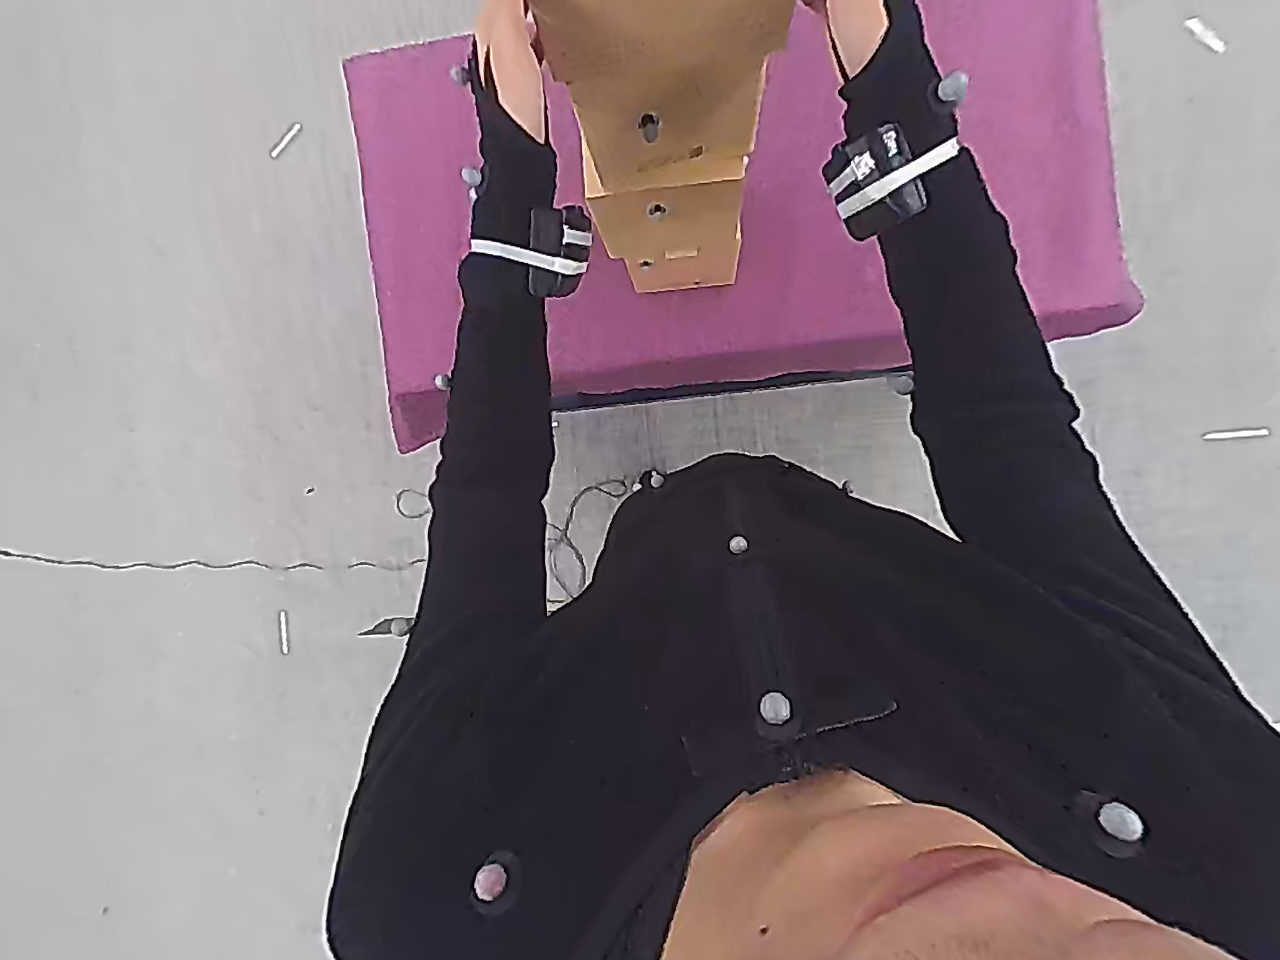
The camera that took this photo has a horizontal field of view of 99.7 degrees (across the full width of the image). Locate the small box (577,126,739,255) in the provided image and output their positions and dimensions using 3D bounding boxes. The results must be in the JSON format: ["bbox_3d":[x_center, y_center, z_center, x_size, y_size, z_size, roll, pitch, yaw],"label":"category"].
[{"bbox_3d":[0.026,-0.393,0.663,0.179,0.176,0.168,-3,90,6],"label":"small box"}]

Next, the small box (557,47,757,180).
[{"bbox_3d":[0.011,-0.411,0.501,0.168,0.176,0.179,-12,88,7],"label":"small box"}]

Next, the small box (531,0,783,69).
[{"bbox_3d":[0.007,-0.393,0.327,0.179,0.176,0.168,-4,87,4],"label":"small box"}]
